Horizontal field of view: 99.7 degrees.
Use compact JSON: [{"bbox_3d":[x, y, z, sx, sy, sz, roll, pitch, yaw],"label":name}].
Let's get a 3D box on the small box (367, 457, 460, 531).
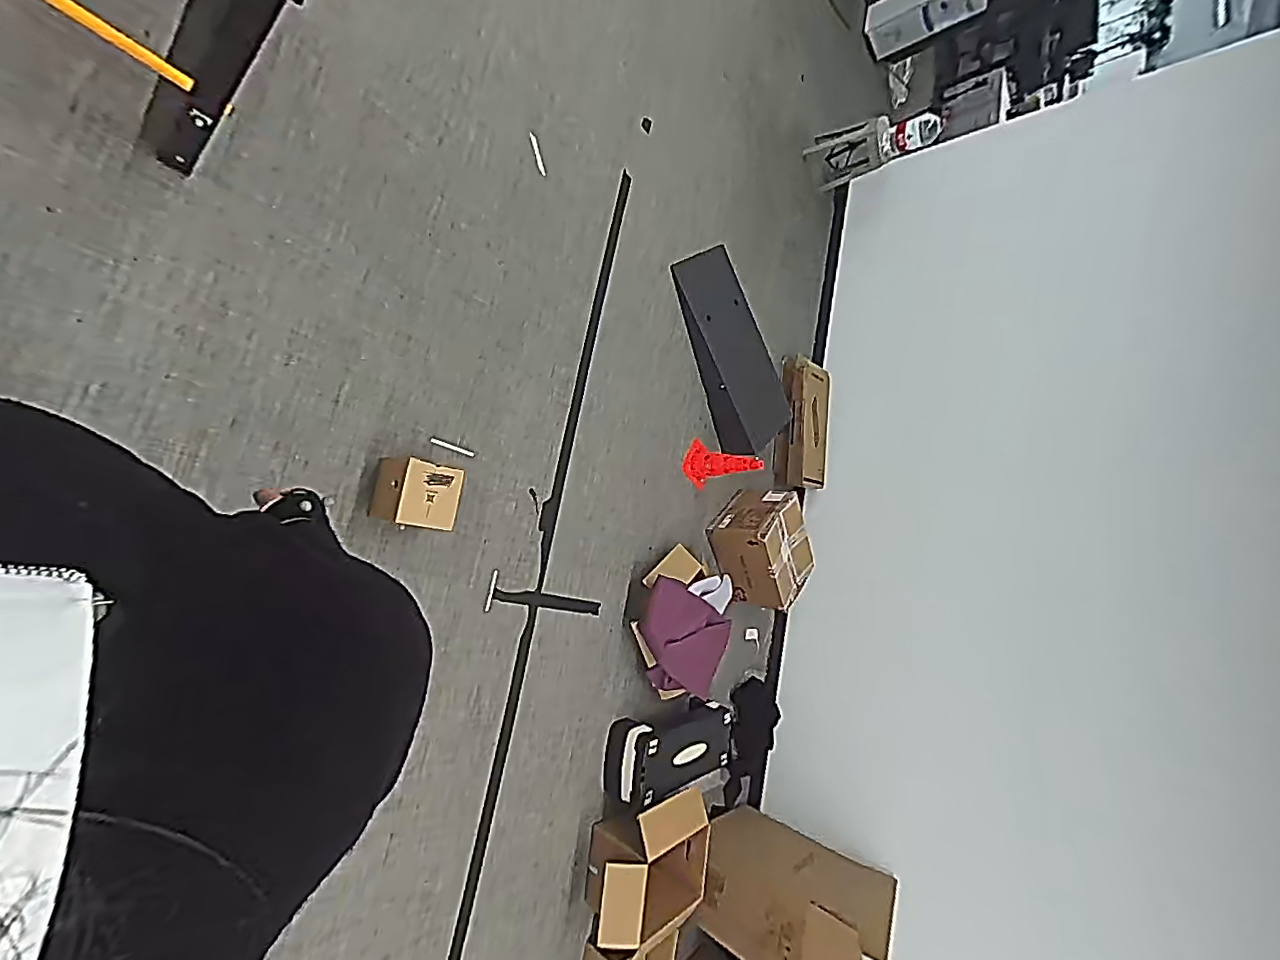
[{"bbox_3d":[-0.633,0.038,1.506,0.168,0.176,0.179,18,78,-48],"label":"small box"}]
